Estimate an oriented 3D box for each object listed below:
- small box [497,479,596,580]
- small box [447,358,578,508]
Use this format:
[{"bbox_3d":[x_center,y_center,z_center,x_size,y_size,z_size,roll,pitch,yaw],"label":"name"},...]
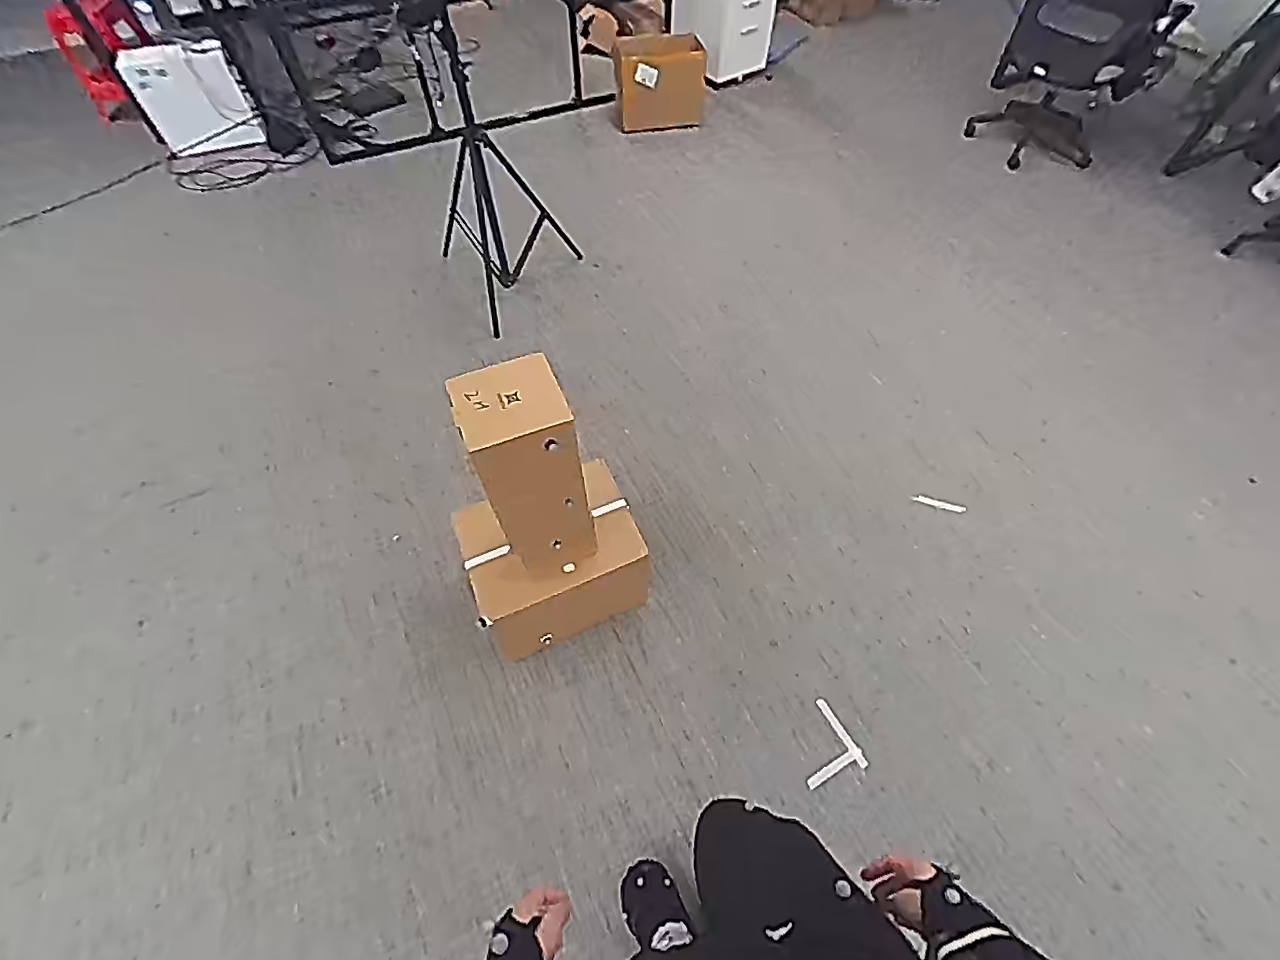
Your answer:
[{"bbox_3d":[-0.210,0.102,1.224,0.179,0.176,0.168,-23,61,-15],"label":"small box"},{"bbox_3d":[-0.214,-0.079,0.949,0.179,0.176,0.168,-20,59,-13],"label":"small box"}]
